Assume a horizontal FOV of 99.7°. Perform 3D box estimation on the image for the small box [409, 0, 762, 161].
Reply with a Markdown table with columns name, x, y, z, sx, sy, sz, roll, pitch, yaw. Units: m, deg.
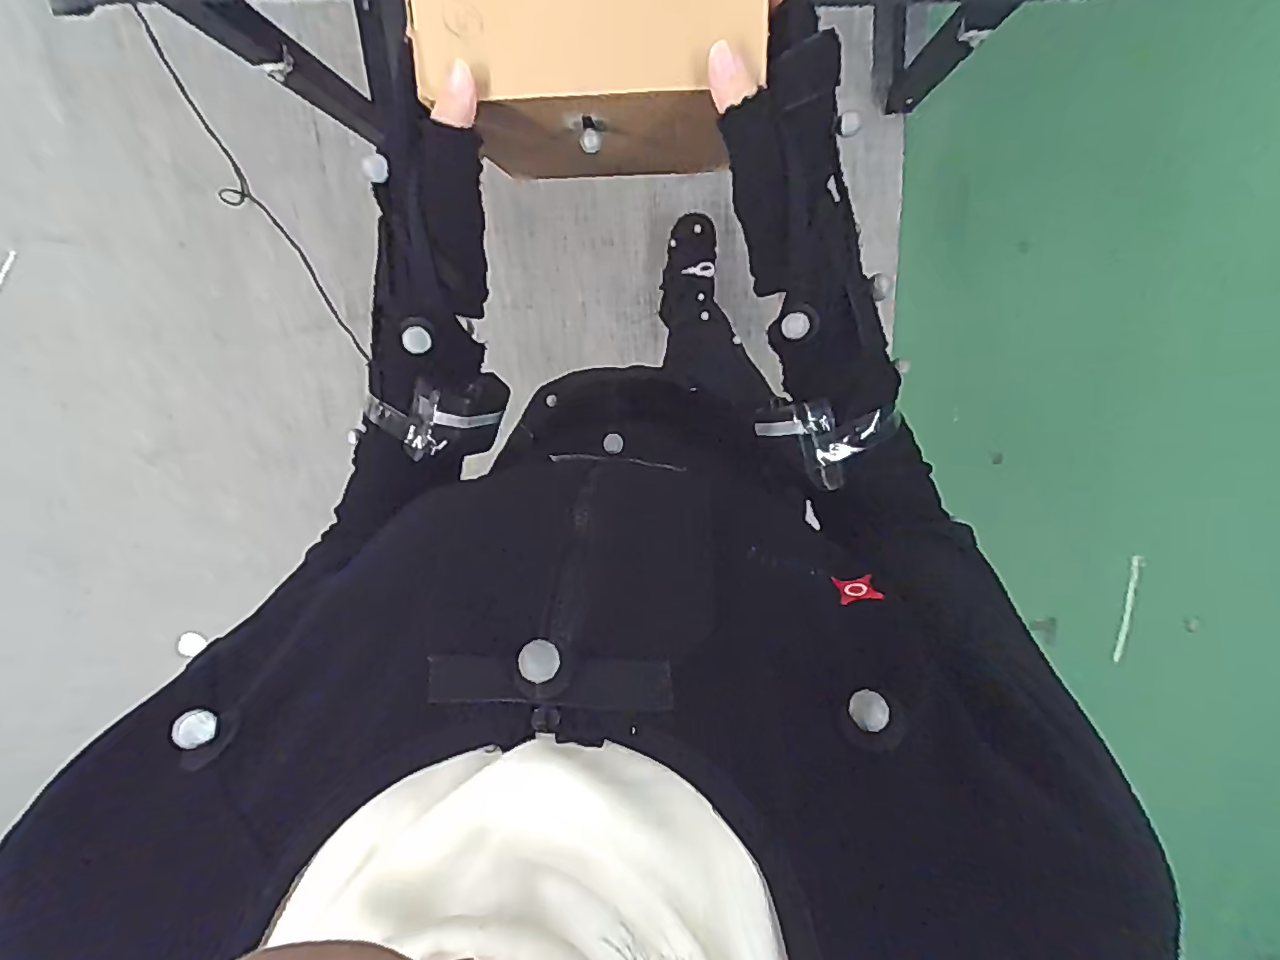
| name | x | y | z | sx | sy | sz | roll | pitch | yaw |
| --- | --- | --- | --- | --- | --- | --- | --- | --- | --- |
| small box | -0.023 | -0.306 | 0.324 | 0.179 | 0.176 | 0.168 | -1 | 107 | 4 |
